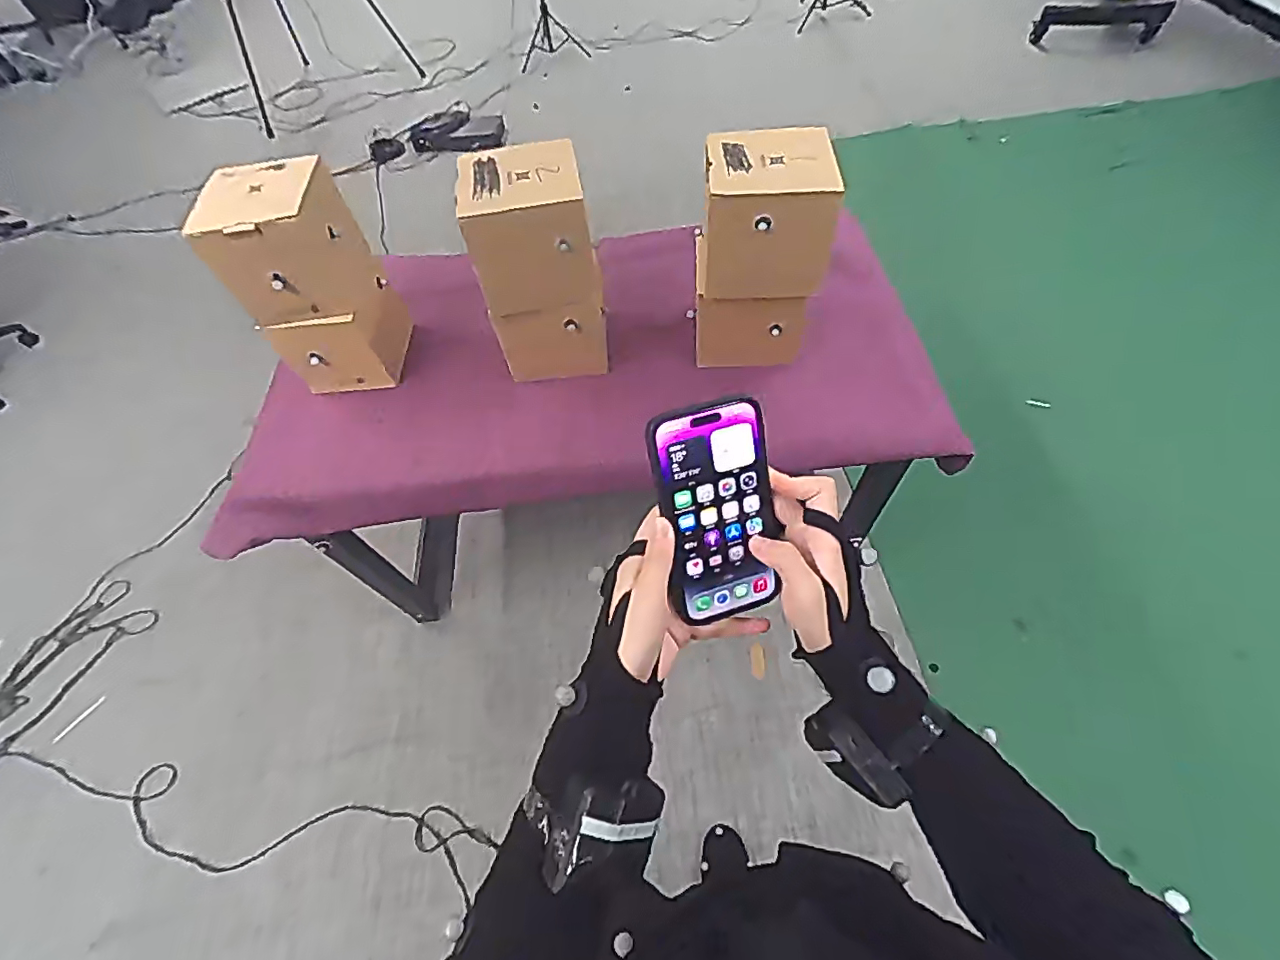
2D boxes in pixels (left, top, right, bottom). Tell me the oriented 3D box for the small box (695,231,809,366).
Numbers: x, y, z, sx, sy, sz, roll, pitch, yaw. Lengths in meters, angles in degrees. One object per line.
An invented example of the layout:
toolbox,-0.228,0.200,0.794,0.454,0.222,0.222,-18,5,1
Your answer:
small box,0.187,-0.317,0.950,0.179,0.176,0.168,-1,57,6

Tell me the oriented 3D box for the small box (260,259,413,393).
small box,-0.543,-0.276,0.998,0.168,0.176,0.179,-5,57,3

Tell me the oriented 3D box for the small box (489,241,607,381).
small box,-0.153,-0.297,0.970,0.179,0.176,0.168,-6,57,2

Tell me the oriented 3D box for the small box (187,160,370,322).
small box,-0.557,-0.371,0.864,0.168,0.176,0.179,-9,58,-1

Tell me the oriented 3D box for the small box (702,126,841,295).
small box,0.182,-0.393,0.805,0.179,0.176,0.168,0,57,5
